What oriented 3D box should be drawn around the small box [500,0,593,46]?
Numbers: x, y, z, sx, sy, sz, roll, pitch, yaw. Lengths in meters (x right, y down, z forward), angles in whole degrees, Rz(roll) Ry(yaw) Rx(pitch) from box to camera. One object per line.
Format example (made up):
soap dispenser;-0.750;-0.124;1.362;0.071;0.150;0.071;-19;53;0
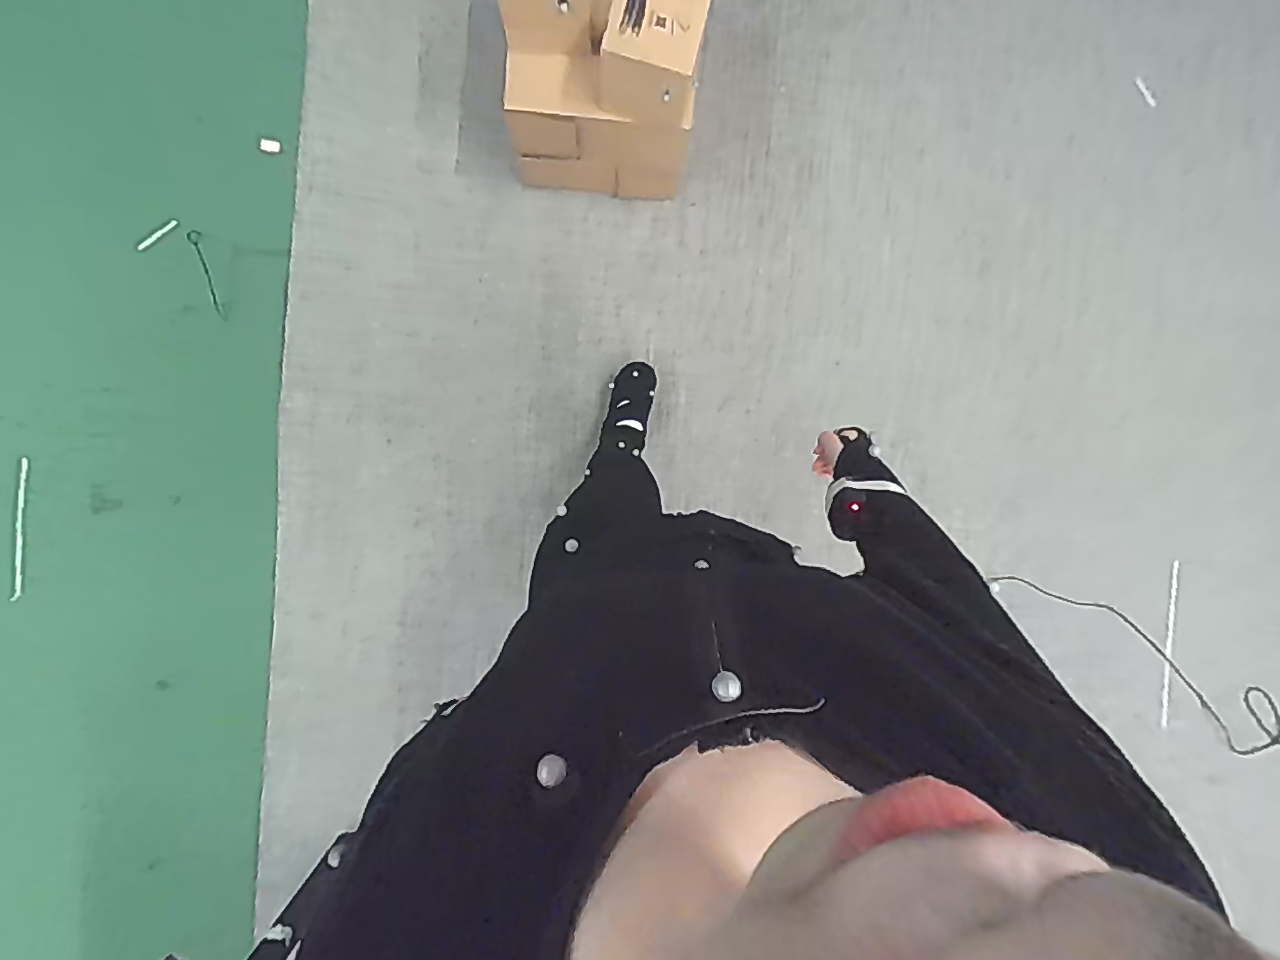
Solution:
small box;-0.179;-0.991;1.050;0.179;0.176;0.168;3;89;-2
